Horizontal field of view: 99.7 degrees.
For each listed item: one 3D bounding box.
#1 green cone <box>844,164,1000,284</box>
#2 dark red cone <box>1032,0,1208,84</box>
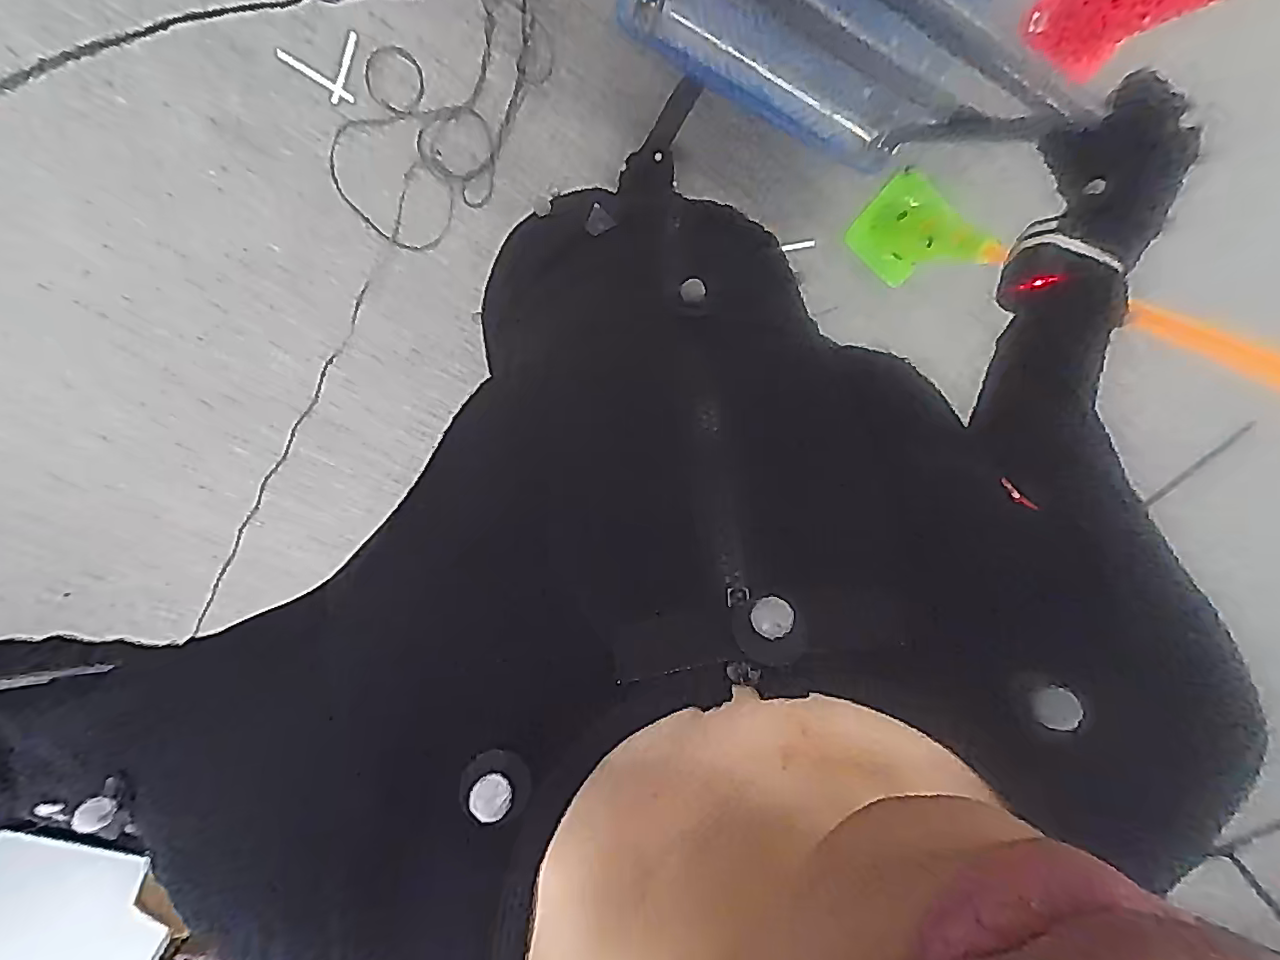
[{"bbox_3d":[0.615,-0.503,1.124,0.202,0.368,0.200,31,116,-20],"label":"green cone"},{"bbox_3d":[0.896,-0.836,0.909,0.201,0.394,0.202,27,117,-19],"label":"dark red cone"}]
